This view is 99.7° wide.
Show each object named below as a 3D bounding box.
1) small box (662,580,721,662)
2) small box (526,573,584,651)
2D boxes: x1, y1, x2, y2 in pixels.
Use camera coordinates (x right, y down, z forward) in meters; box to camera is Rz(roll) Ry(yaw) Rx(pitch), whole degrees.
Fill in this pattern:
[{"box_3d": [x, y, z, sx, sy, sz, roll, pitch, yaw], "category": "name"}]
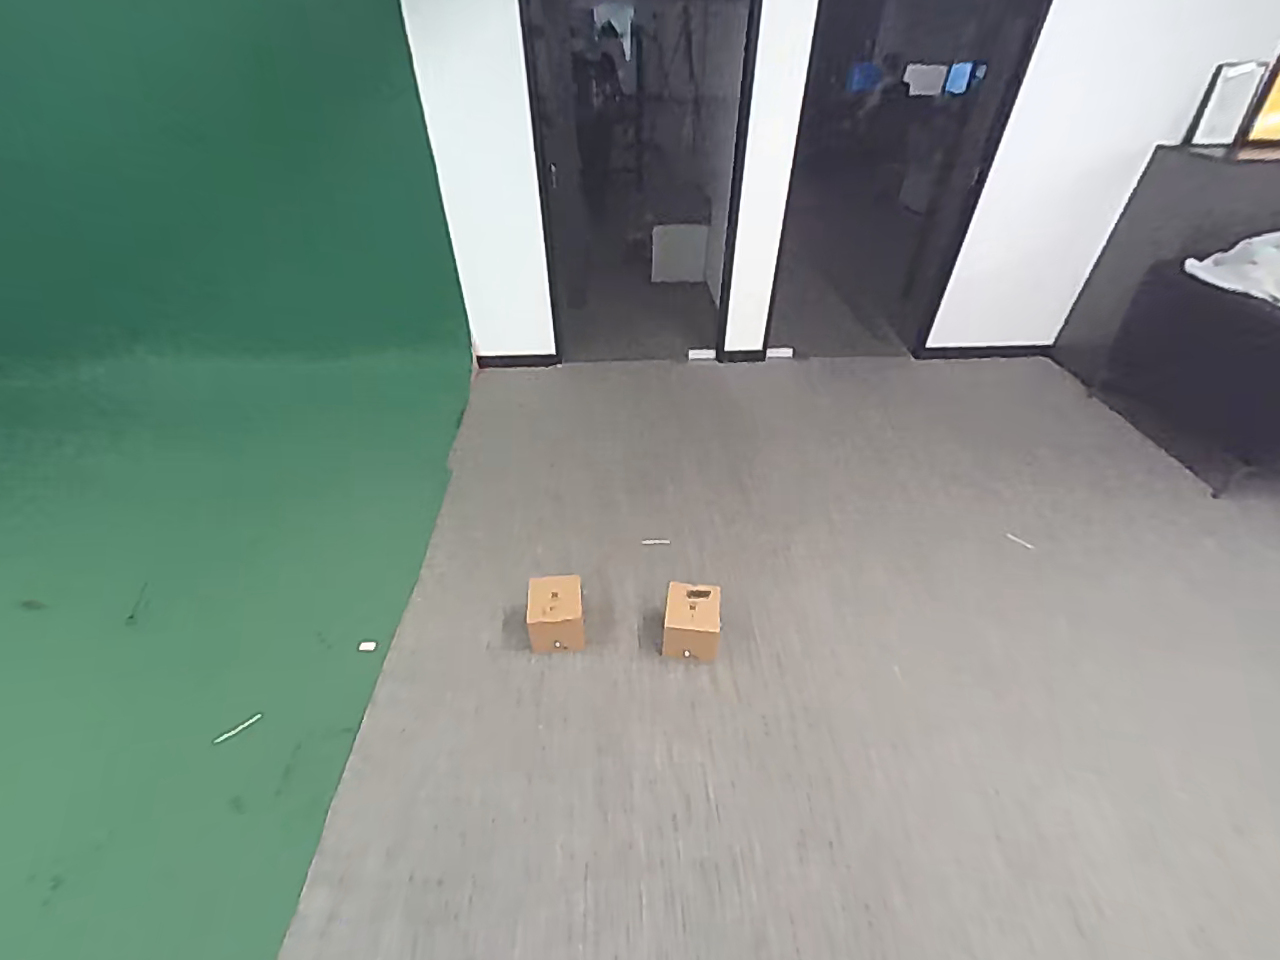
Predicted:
[{"box_3d": [0.161, 0.444, 1.702, 0.168, 0.176, 0.179, 5, 41, 6], "category": "small box"}, {"box_3d": [-0.266, 0.421, 1.723, 0.168, 0.176, 0.179, -4, 40, -5], "category": "small box"}]
